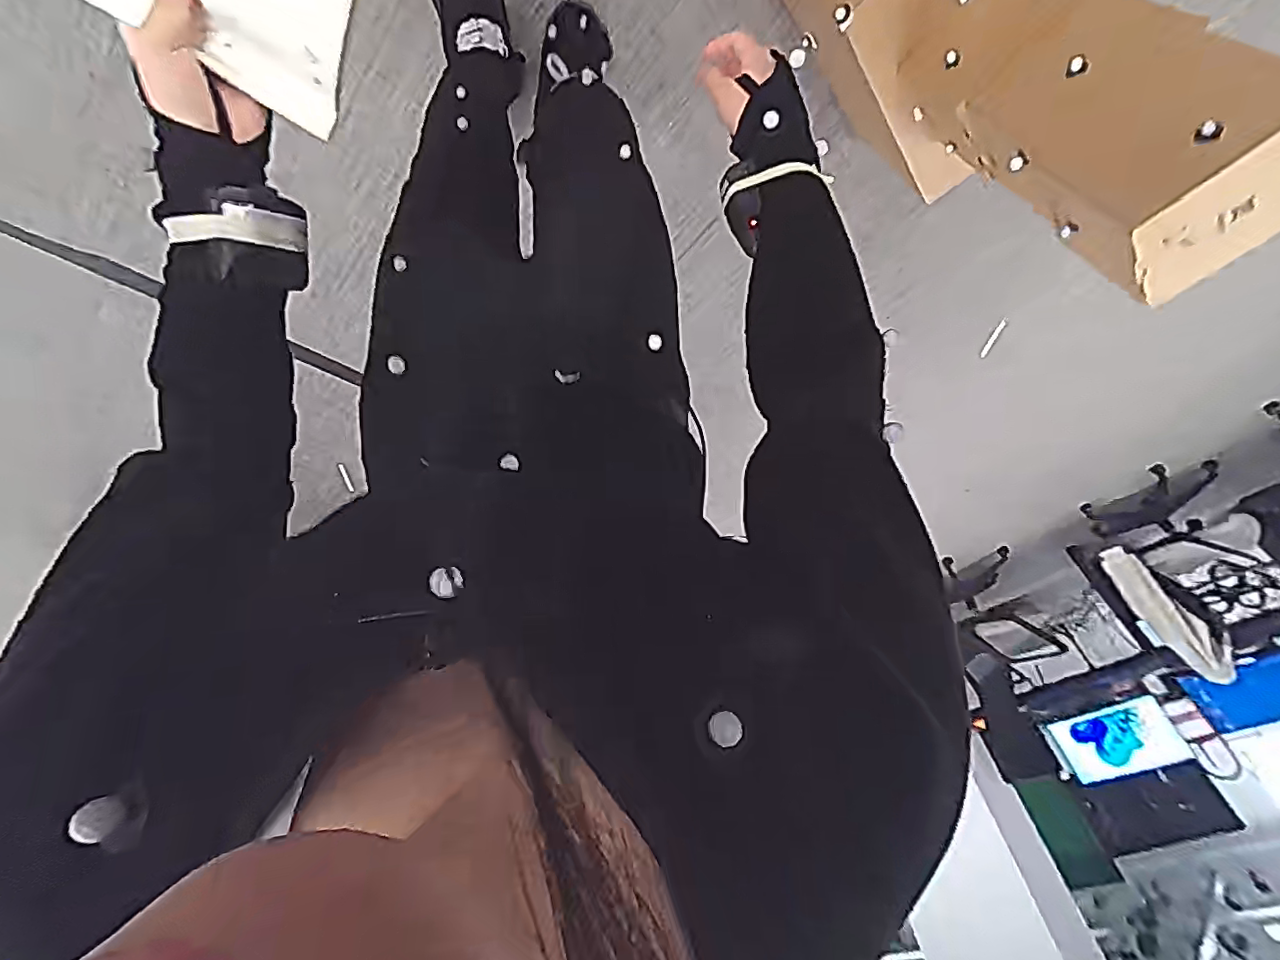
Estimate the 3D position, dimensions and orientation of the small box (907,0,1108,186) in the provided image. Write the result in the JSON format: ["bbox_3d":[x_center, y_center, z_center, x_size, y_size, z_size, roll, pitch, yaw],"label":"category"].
[{"bbox_3d":[0.532,-0.594,0.806,0.168,0.176,0.179,21,131,-39],"label":"small box"}]

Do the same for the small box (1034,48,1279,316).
[{"bbox_3d":[0.604,-0.334,0.617,0.168,0.176,0.179,24,130,-40],"label":"small box"}]
